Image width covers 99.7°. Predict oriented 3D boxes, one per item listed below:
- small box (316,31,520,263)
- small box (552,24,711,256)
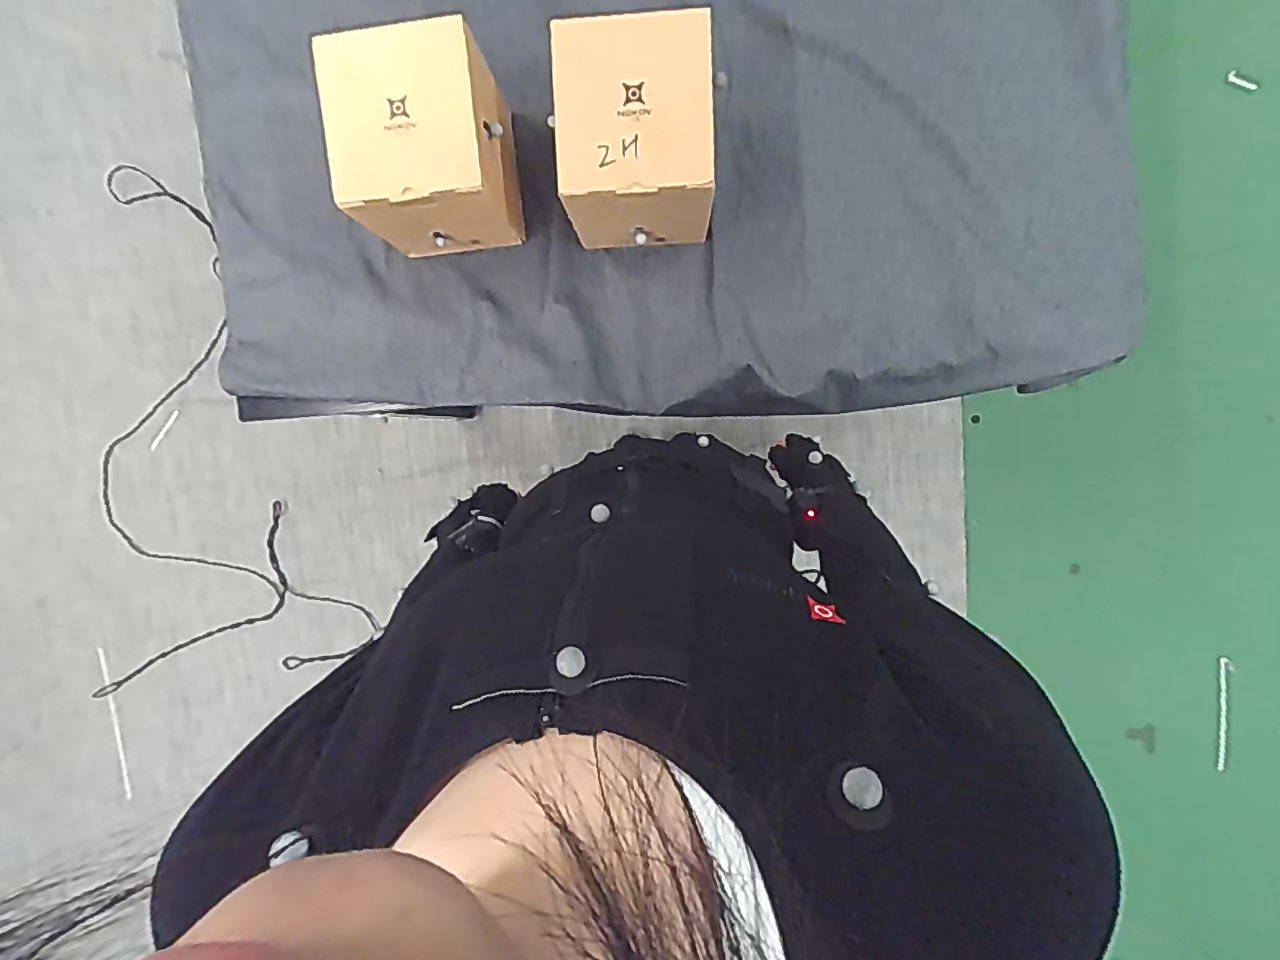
[{"bbox_3d":[-0.253,-0.385,0.656,0.168,0.176,0.179,-6,95,3],"label":"small box"},{"bbox_3d":[-0.006,-0.384,0.641,0.168,0.176,0.179,-2,95,3],"label":"small box"}]
